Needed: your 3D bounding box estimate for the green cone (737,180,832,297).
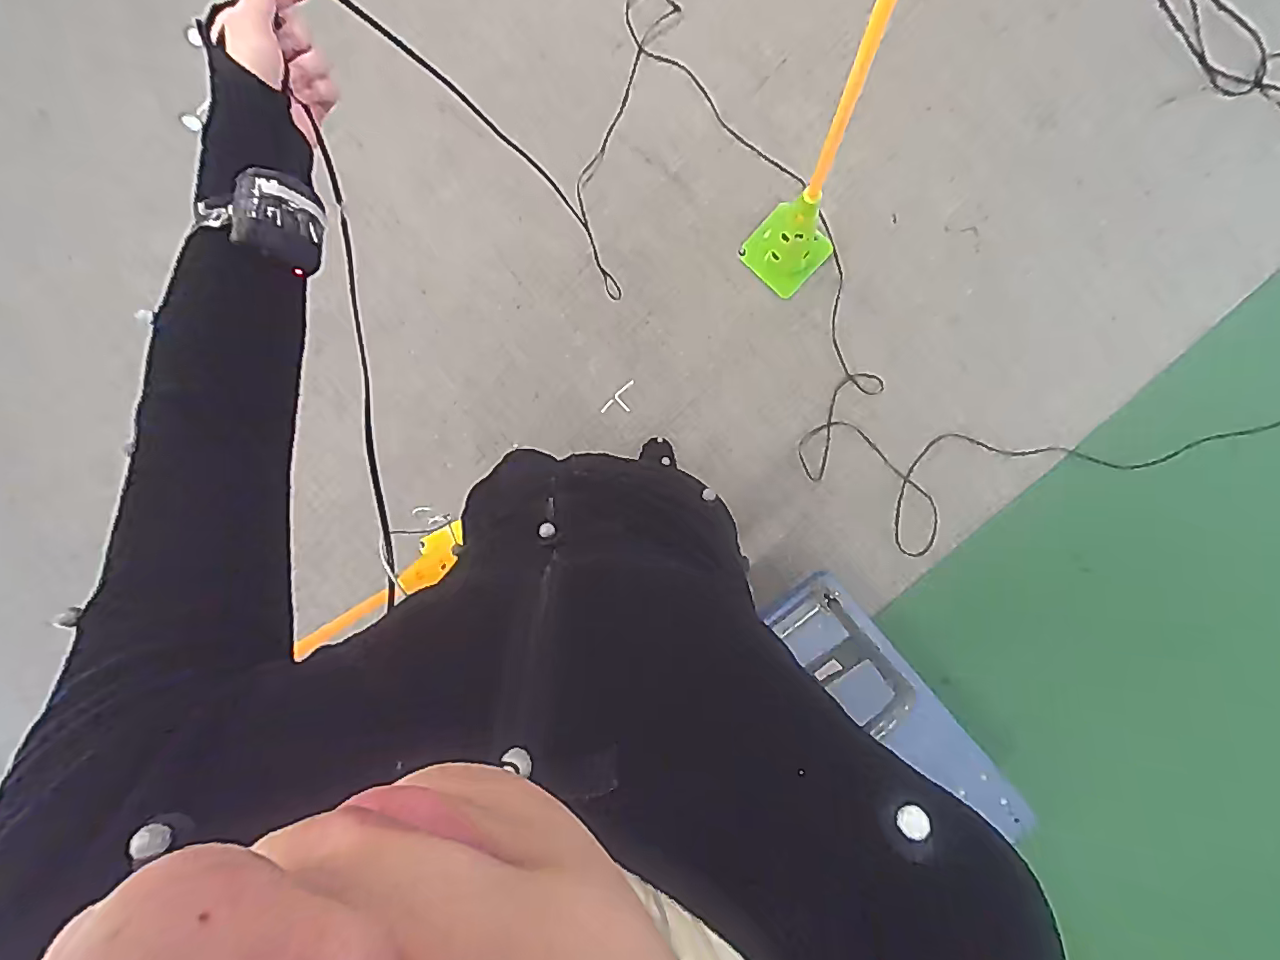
[{"bbox_3d":[0.390,-0.631,1.339,0.200,0.368,0.202,42,96,0],"label":"green cone"}]
